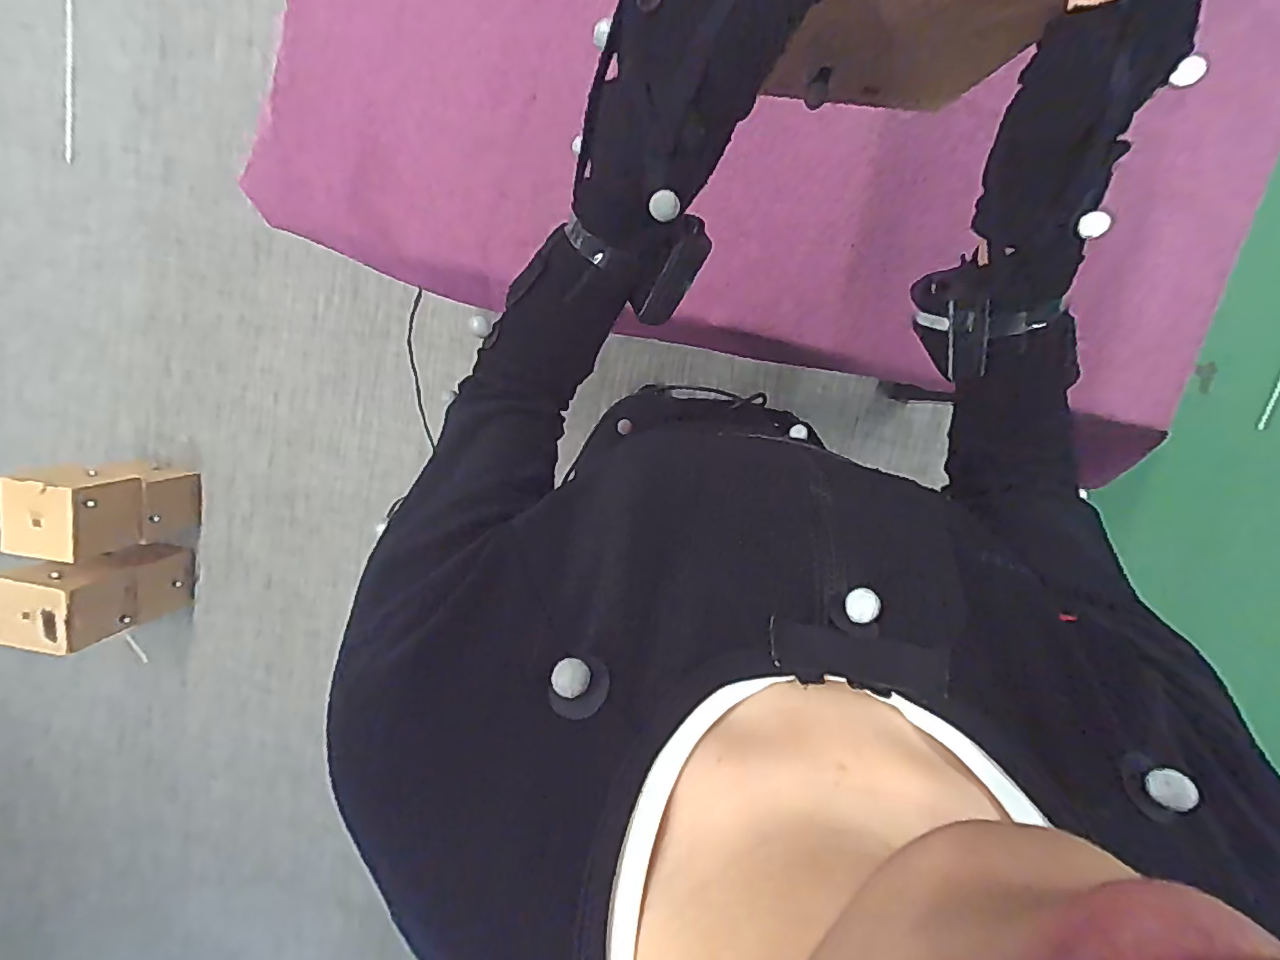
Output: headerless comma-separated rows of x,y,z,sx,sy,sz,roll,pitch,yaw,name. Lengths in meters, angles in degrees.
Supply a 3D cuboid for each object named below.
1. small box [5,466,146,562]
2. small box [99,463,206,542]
-1.318,0.074,1.274,0.168,0.176,0.179,8,99,0,small box
-1.310,0.052,1.436,0.179,0.176,0.168,10,100,0,small box
